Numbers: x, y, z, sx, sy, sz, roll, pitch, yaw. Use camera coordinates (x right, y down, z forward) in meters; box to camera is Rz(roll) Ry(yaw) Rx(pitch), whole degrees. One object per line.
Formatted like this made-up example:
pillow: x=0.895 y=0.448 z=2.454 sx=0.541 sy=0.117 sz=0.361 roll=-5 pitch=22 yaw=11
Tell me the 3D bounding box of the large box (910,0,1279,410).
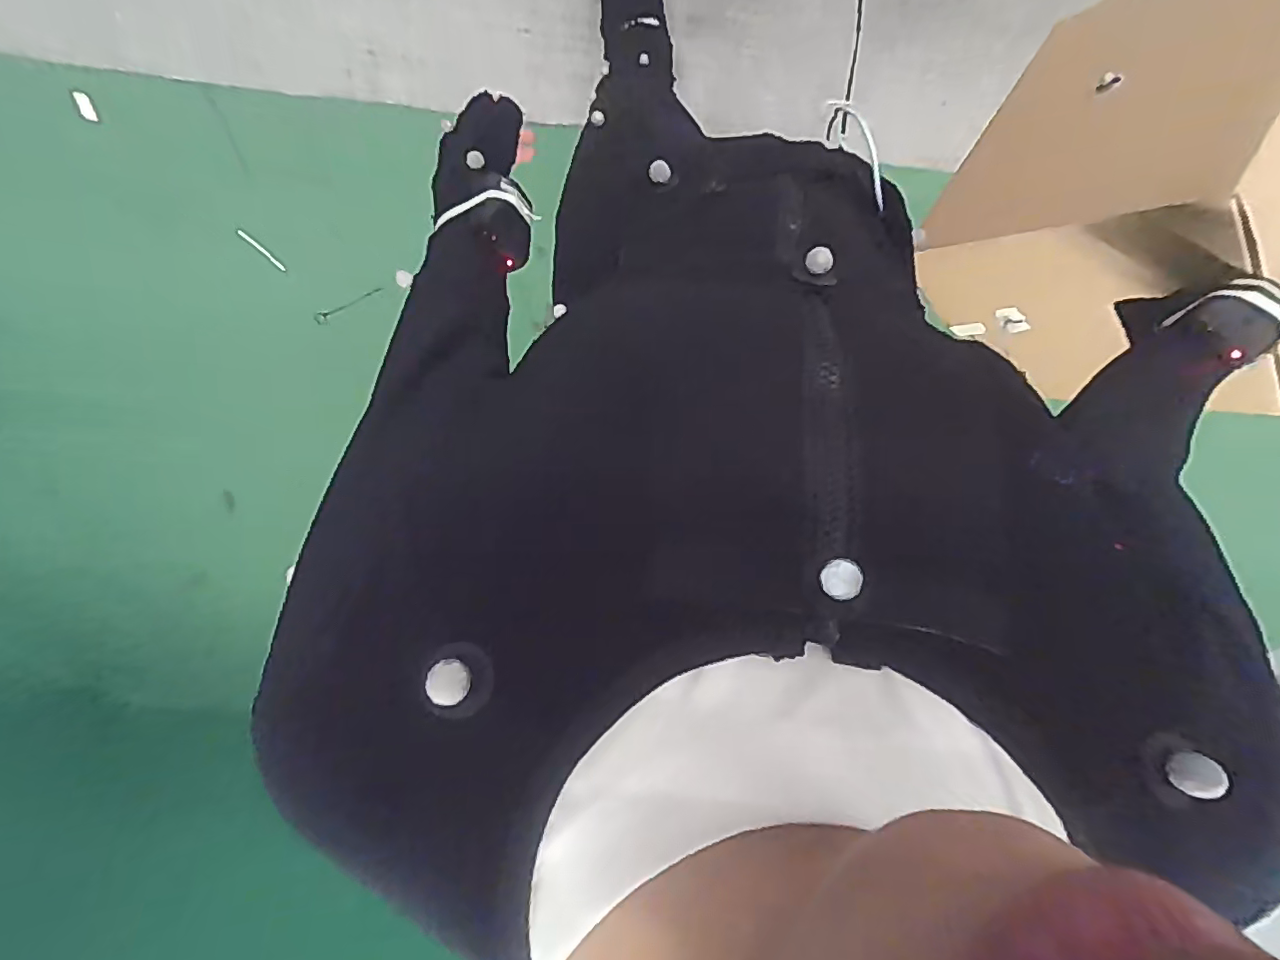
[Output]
large box: x=0.624 y=-0.342 z=0.662 sx=0.320 sy=0.320 sz=0.408 roll=36 pitch=85 yaw=-28
